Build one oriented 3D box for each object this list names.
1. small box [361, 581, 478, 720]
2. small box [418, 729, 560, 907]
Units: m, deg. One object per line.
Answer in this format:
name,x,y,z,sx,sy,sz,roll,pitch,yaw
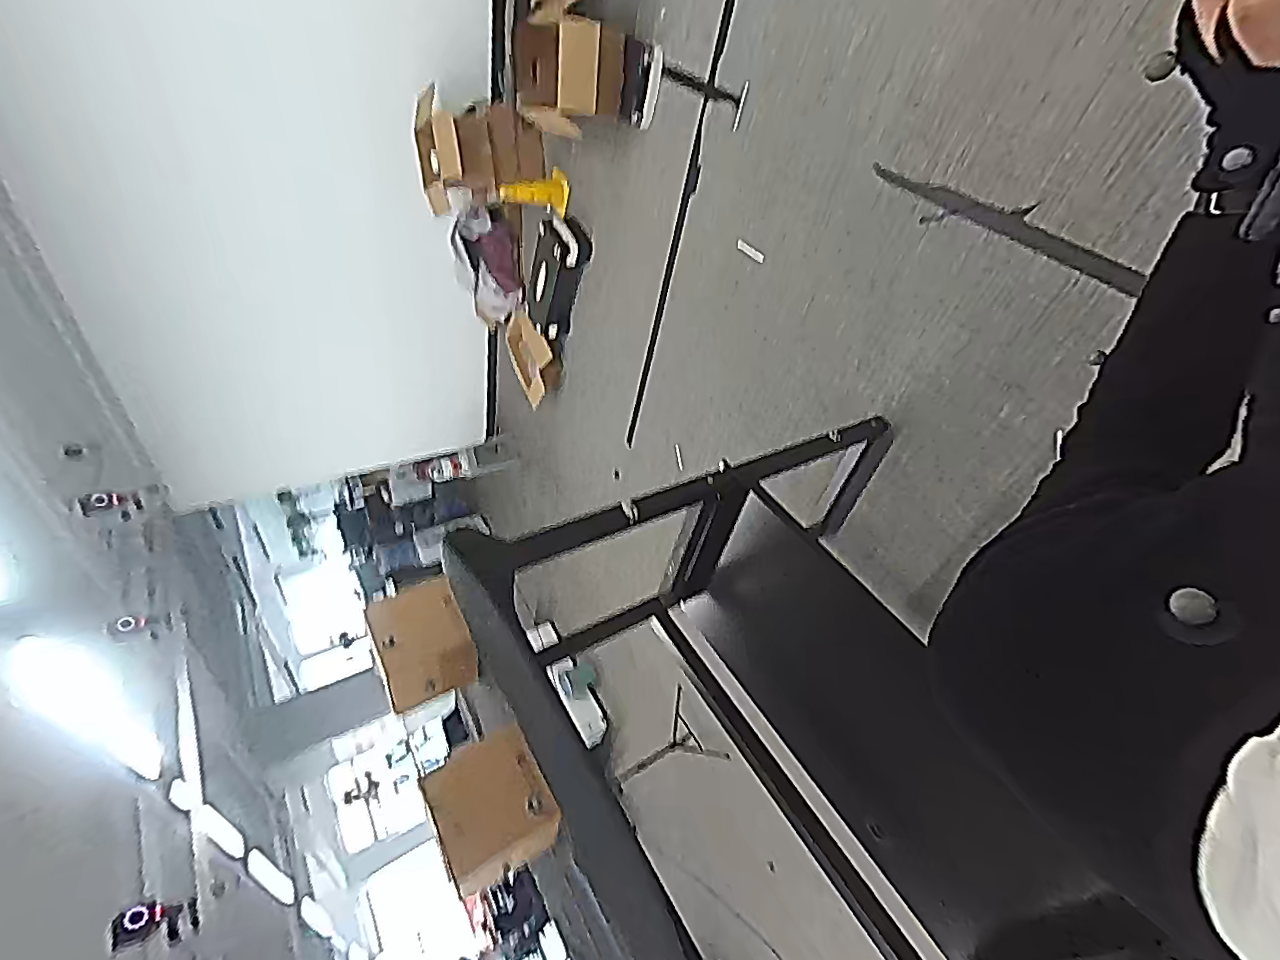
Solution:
small box,-0.430,0.334,1.075,0.168,0.176,0.179,48,143,32
small box,-0.243,0.546,0.886,0.168,0.176,0.179,50,145,32
